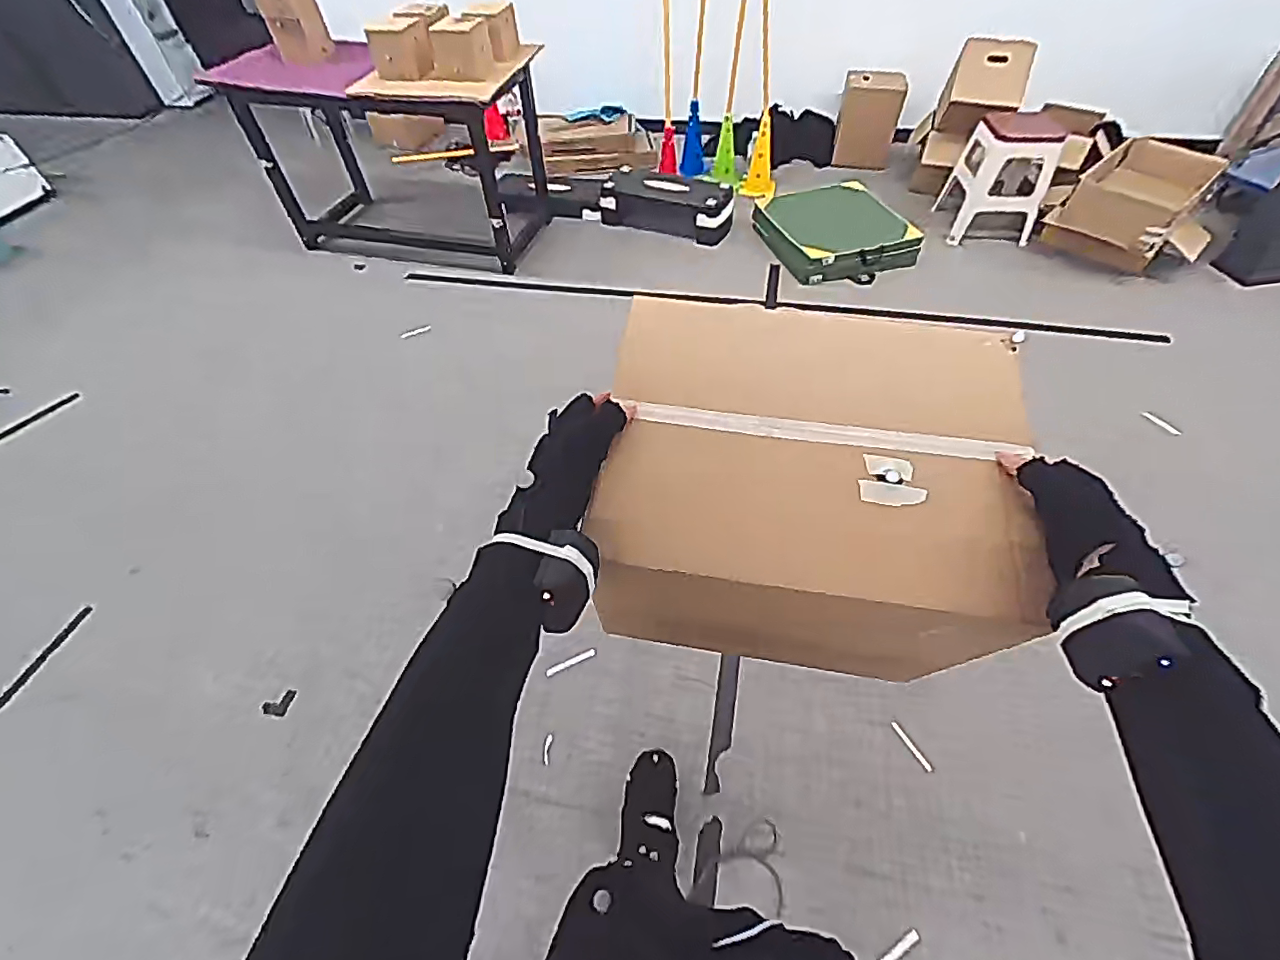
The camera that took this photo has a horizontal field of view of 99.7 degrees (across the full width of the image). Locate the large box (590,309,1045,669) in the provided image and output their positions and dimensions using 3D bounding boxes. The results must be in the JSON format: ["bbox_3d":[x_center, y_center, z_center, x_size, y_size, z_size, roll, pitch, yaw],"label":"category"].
[{"bbox_3d":[0.172,0.027,0.672,0.408,0.320,0.320,8,63,5],"label":"large box"}]
